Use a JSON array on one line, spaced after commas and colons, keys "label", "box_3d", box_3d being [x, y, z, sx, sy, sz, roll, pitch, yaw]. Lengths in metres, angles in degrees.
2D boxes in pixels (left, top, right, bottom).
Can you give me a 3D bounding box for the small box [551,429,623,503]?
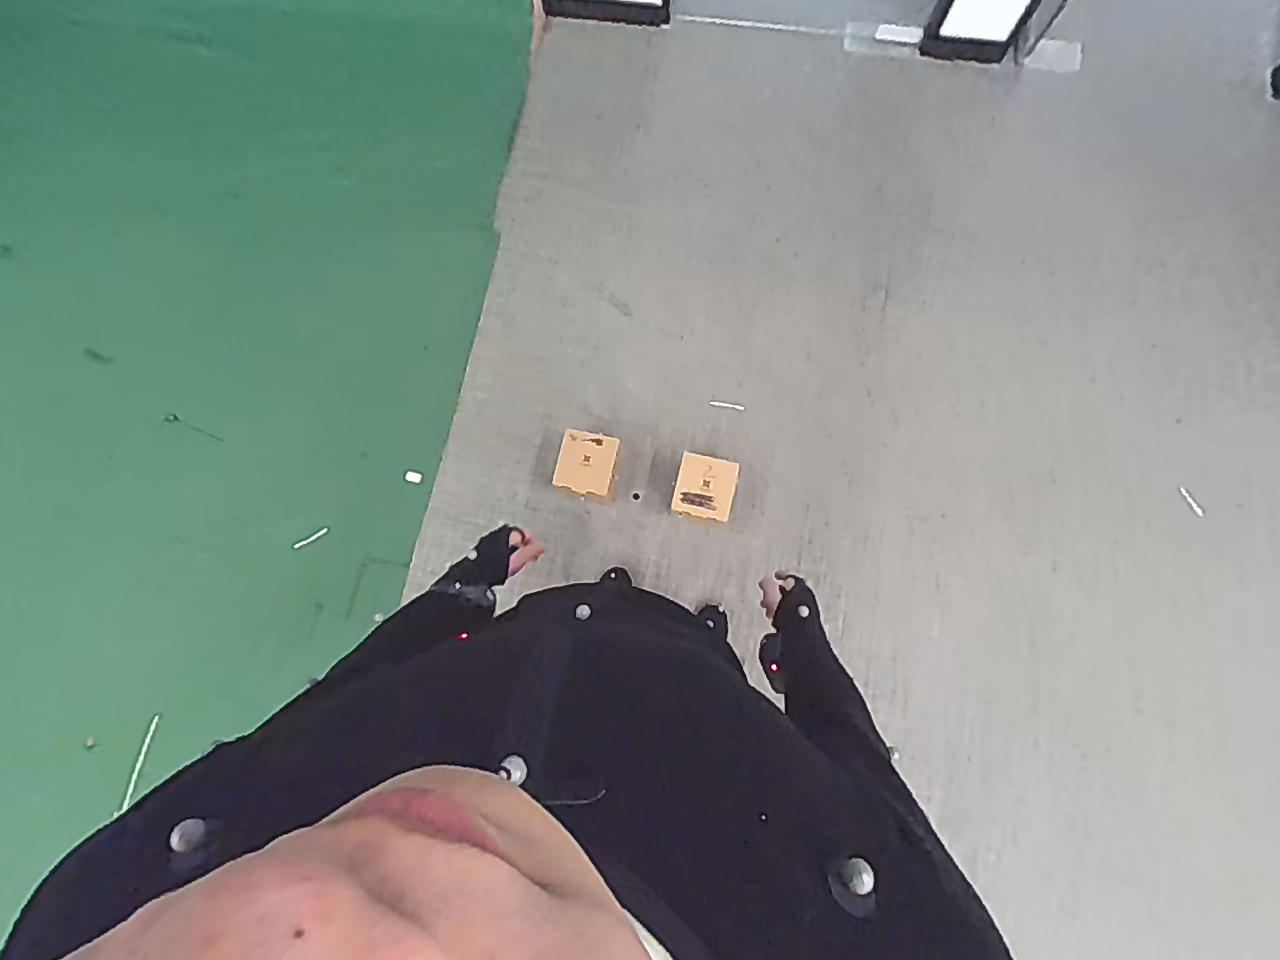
[{"label": "small box", "box_3d": [-0.152, -0.035, 1.629, 0.168, 0.176, 0.179, 13, 80, 5]}]
